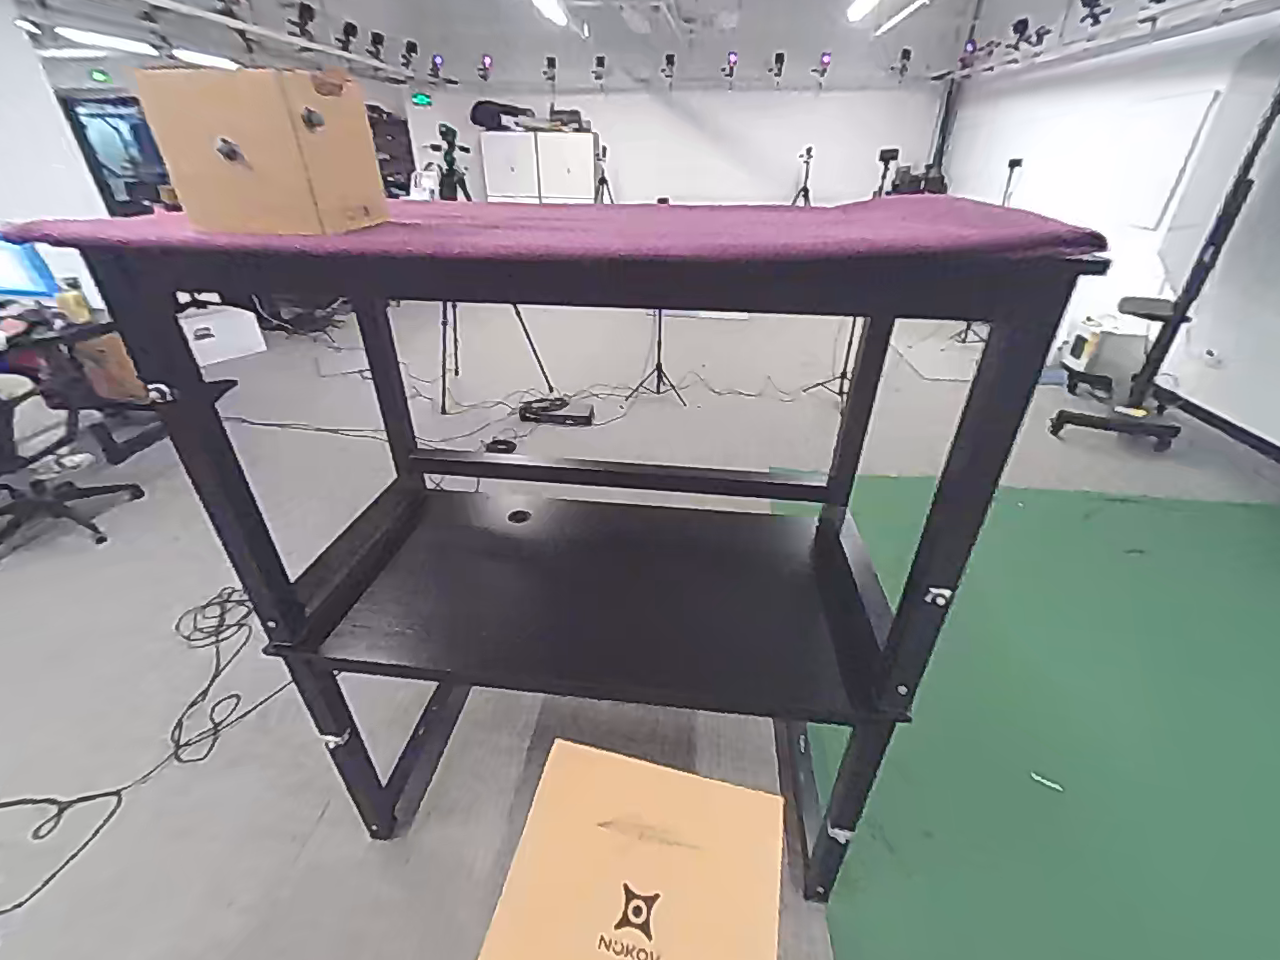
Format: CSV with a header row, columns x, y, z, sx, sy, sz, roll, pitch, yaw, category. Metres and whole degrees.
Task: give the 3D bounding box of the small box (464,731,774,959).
x,y,z,sx,sy,sz,roll,pitch,yaw,category
-0.010,0.308,0.366,0.168,0.176,0.179,10,42,8,small box
